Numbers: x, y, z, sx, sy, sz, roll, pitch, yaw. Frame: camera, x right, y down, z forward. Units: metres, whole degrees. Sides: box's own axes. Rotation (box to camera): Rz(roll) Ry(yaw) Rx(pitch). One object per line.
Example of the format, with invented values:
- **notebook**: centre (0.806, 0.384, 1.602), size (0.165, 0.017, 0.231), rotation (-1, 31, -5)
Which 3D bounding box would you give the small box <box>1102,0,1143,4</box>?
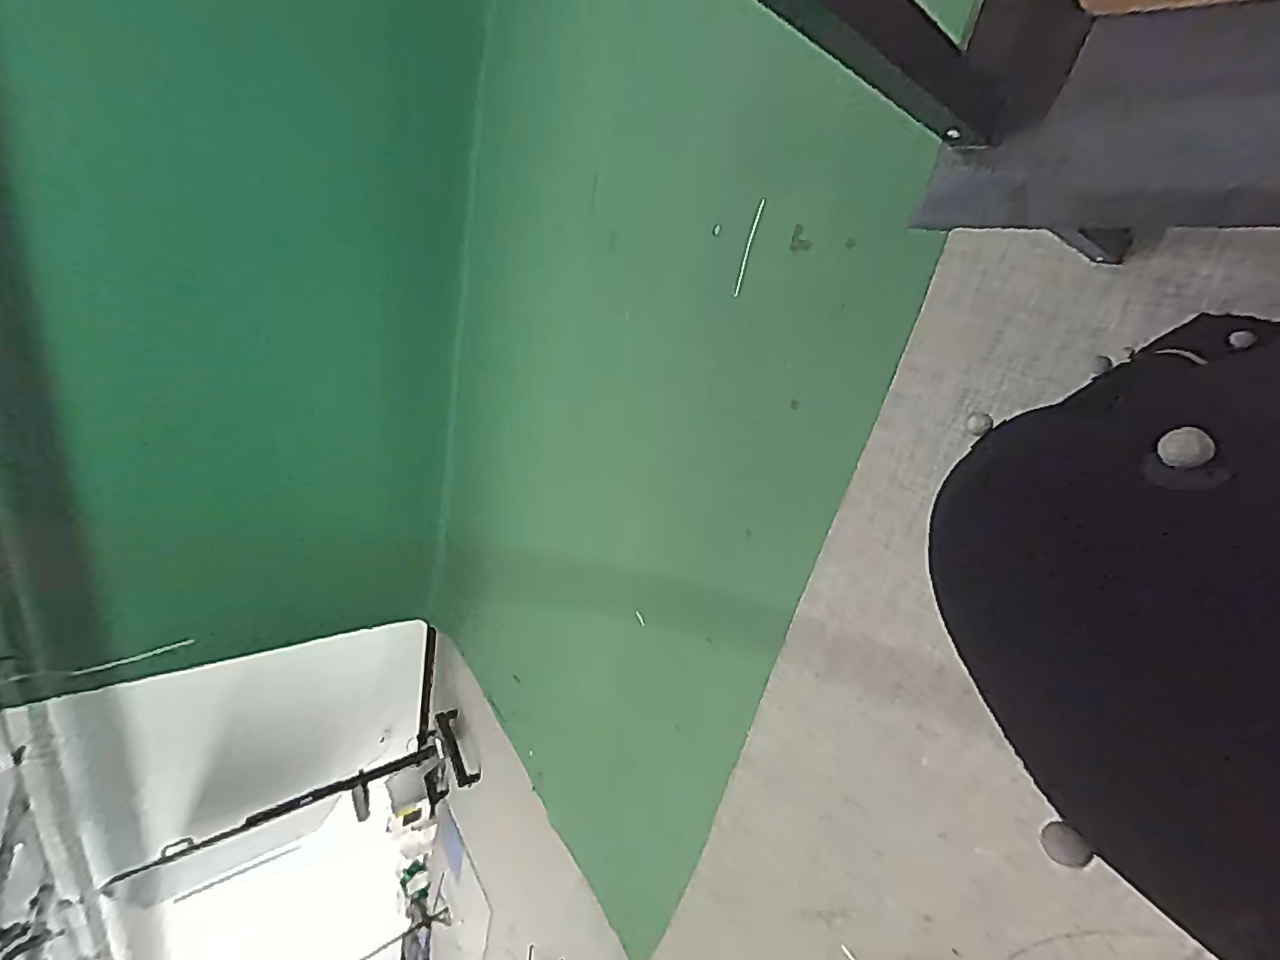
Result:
- **small box**: centre (0.493, -0.542, 0.453), size (0.168, 0.176, 0.179), rotation (37, 122, 41)
